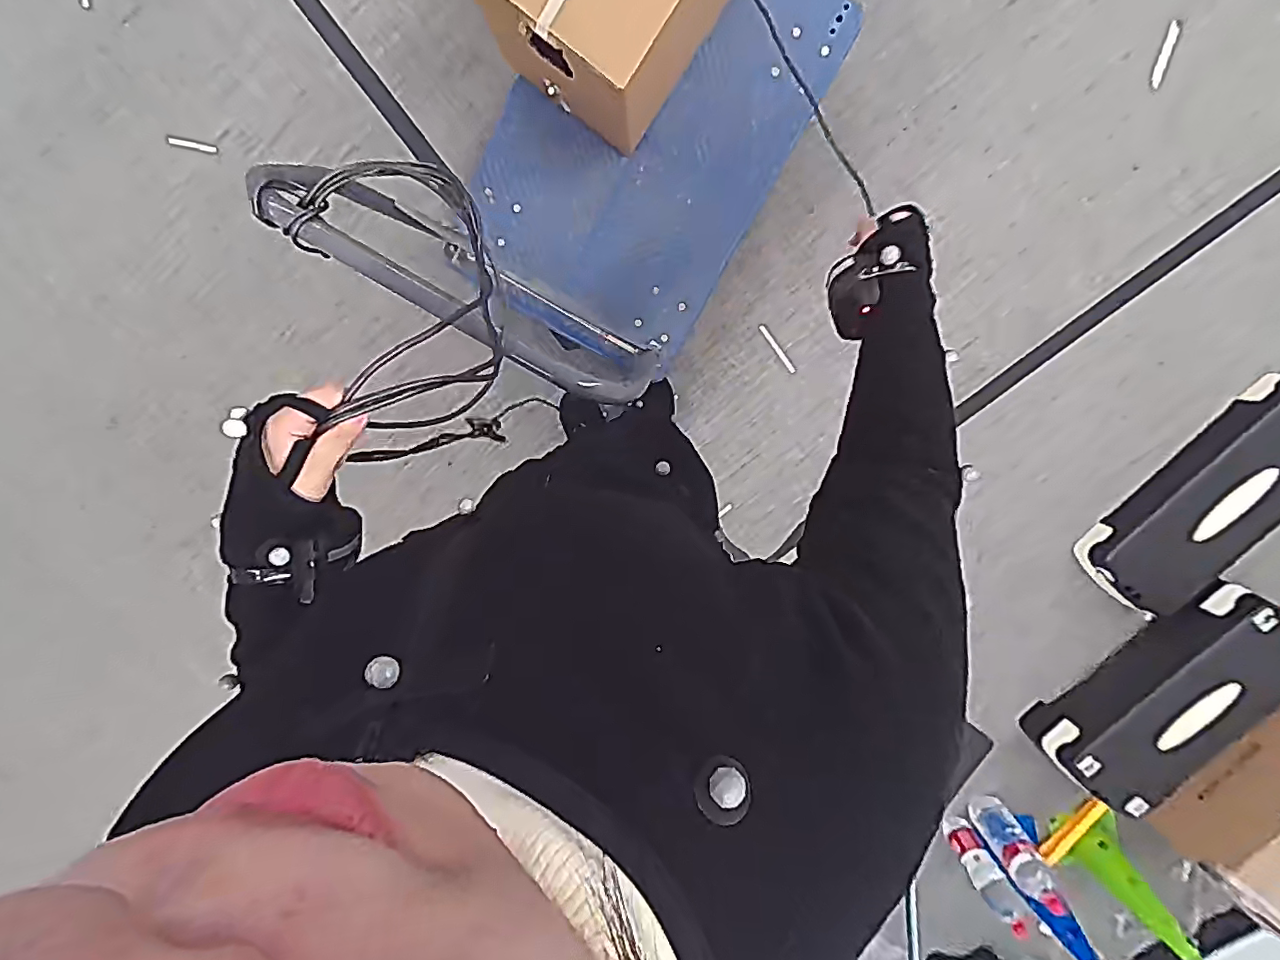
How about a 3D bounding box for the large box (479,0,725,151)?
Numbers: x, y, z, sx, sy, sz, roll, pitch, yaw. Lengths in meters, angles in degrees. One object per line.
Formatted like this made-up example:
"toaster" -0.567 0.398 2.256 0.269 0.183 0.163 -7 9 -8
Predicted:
"large box" -0.037 -0.902 0.954 0.320 0.320 0.408 35 101 -7
